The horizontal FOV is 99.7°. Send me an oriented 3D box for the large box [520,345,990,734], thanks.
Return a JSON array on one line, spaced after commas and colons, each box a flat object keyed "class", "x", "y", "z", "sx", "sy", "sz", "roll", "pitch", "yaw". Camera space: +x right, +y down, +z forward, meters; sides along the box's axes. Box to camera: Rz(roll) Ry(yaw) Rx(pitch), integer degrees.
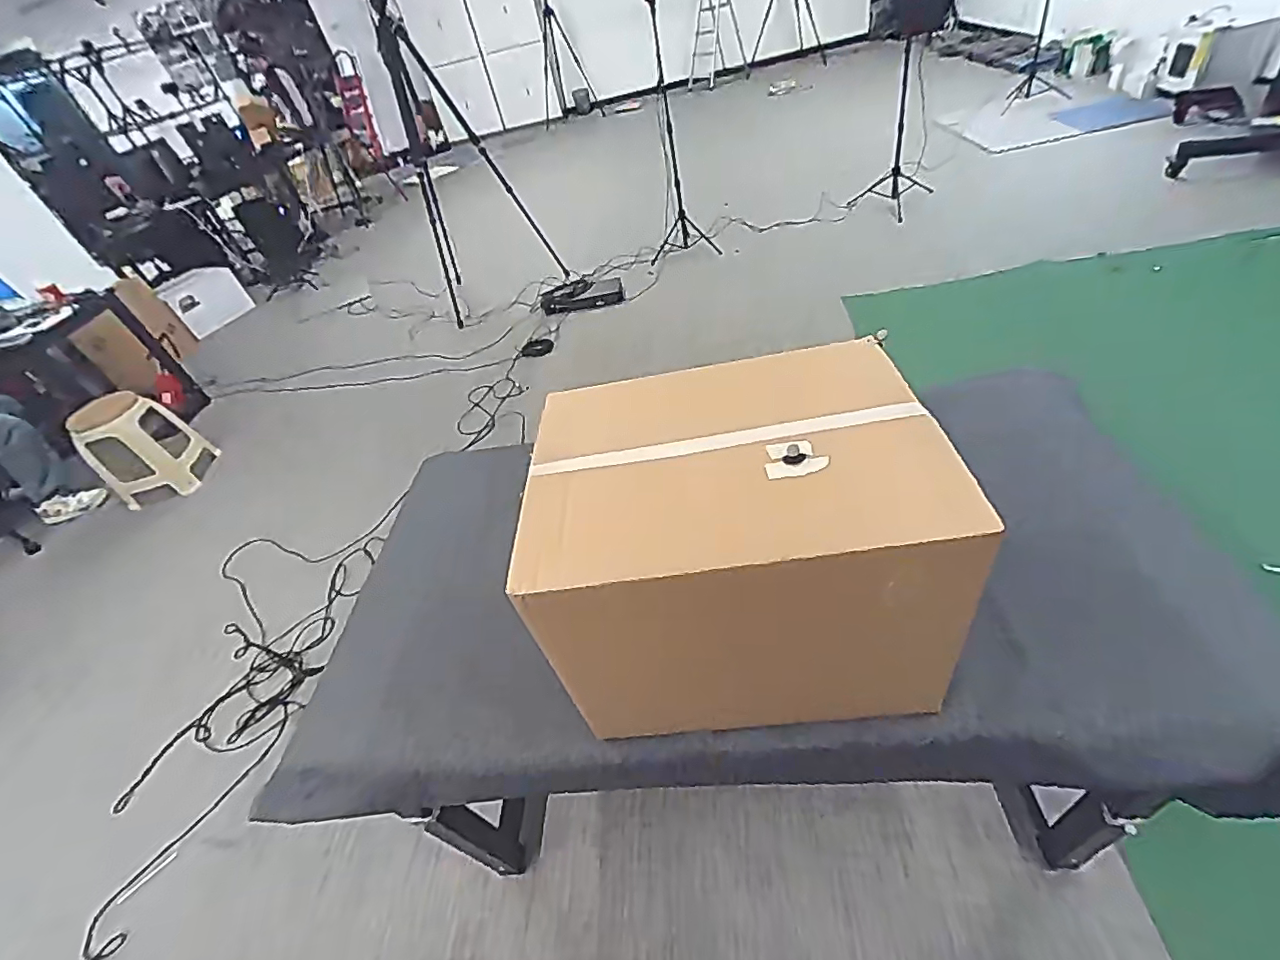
[{"class": "large box", "x": 0.111, "y": 0.075, "z": 0.658, "sx": 0.408, "sy": 0.320, "sz": 0.320, "roll": -8, "pitch": 42, "yaw": 7}]
